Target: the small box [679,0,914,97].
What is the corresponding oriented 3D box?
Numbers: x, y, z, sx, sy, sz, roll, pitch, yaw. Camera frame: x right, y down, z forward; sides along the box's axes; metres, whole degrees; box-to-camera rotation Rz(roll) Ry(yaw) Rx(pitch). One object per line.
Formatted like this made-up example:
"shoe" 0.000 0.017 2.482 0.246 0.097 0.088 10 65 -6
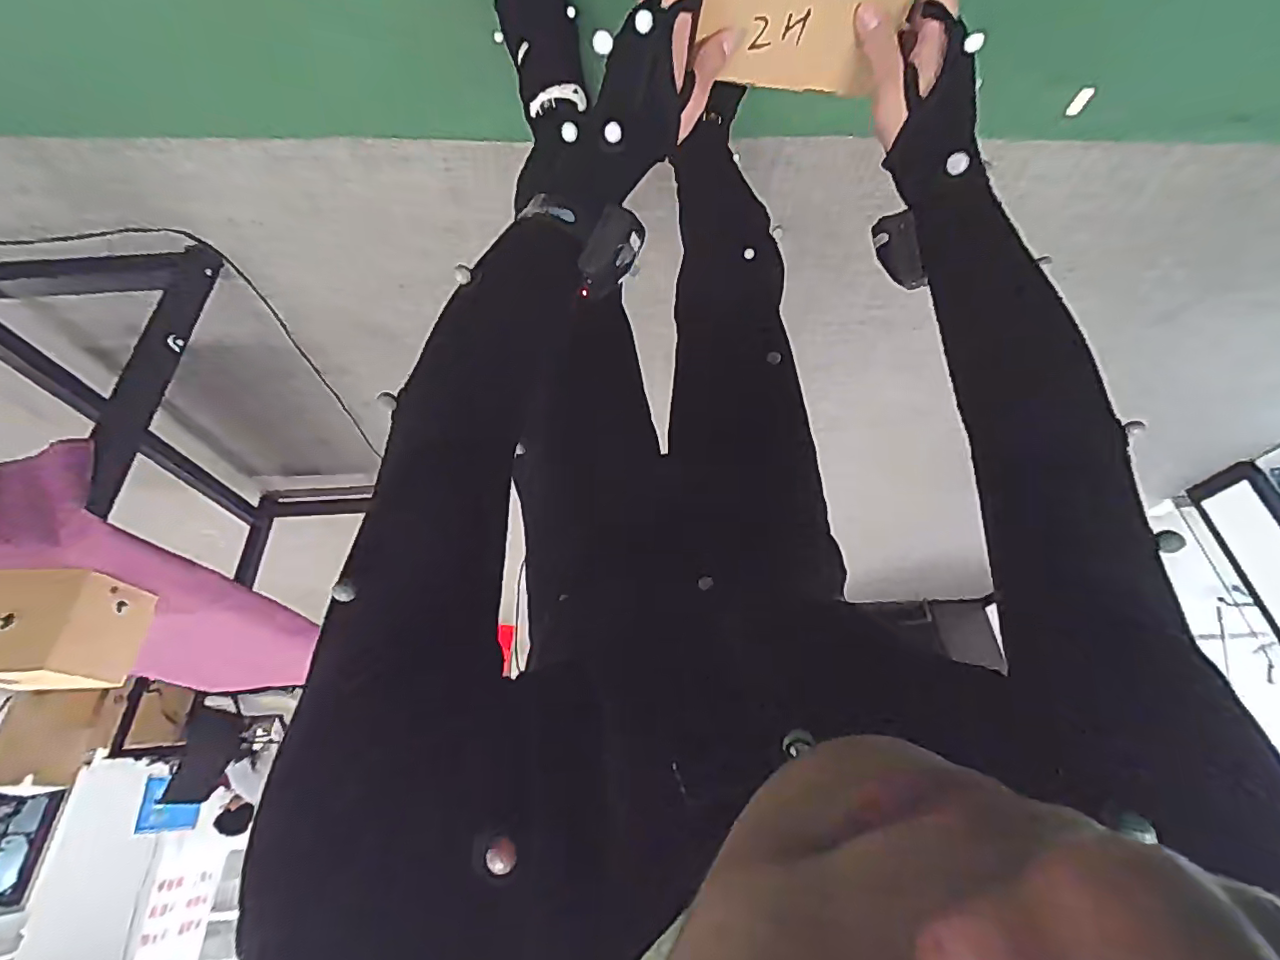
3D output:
"small box" 0.126 -0.448 0.426 0.168 0.176 0.179 0 150 -10
